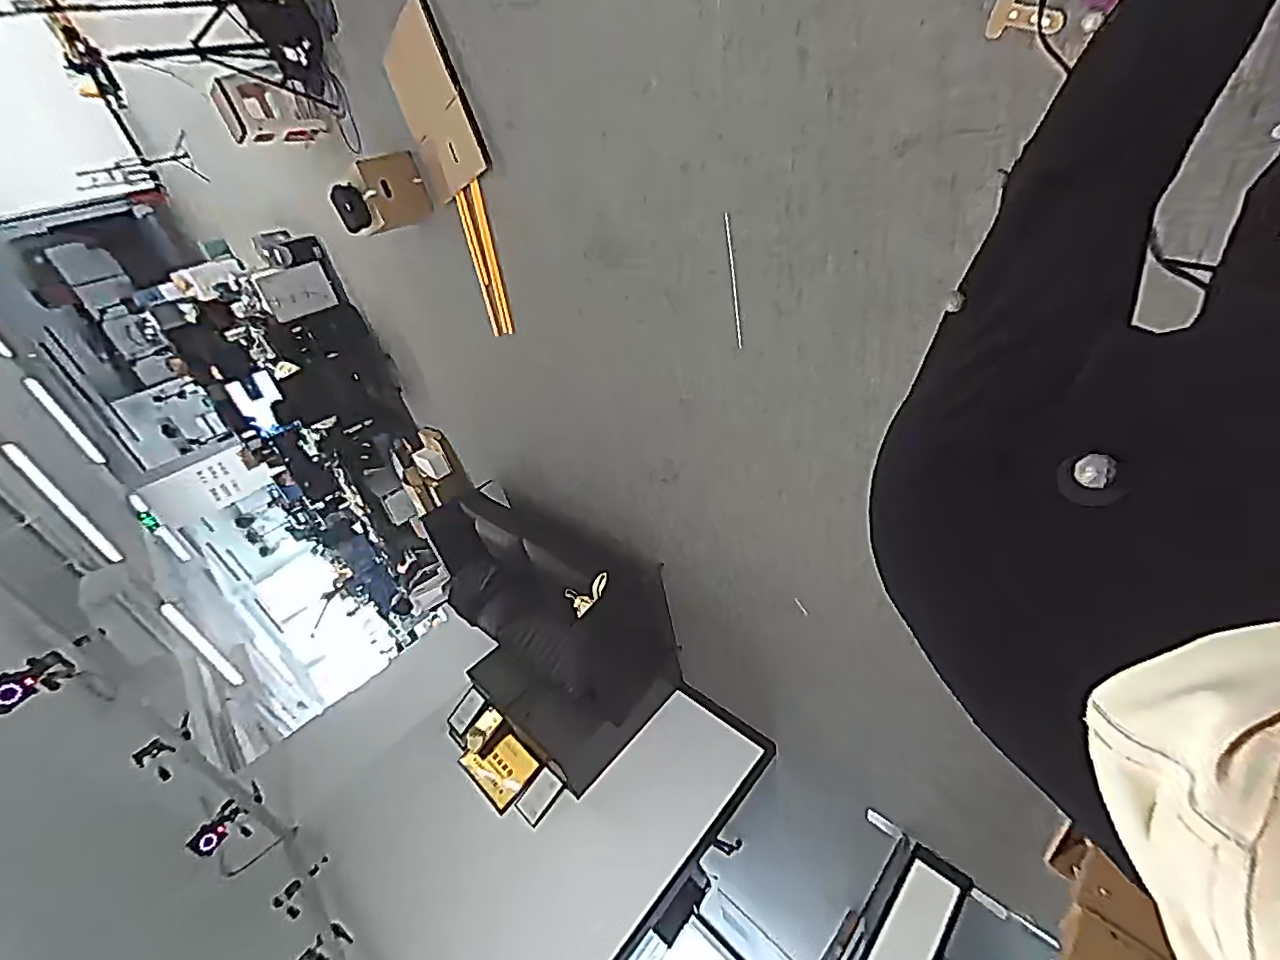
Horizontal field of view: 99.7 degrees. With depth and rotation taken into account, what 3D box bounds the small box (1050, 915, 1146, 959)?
[{"bbox_3d":[1.031,1.128,1.205,0.168,0.176,0.179,25,139,40],"label":"small box"}]
